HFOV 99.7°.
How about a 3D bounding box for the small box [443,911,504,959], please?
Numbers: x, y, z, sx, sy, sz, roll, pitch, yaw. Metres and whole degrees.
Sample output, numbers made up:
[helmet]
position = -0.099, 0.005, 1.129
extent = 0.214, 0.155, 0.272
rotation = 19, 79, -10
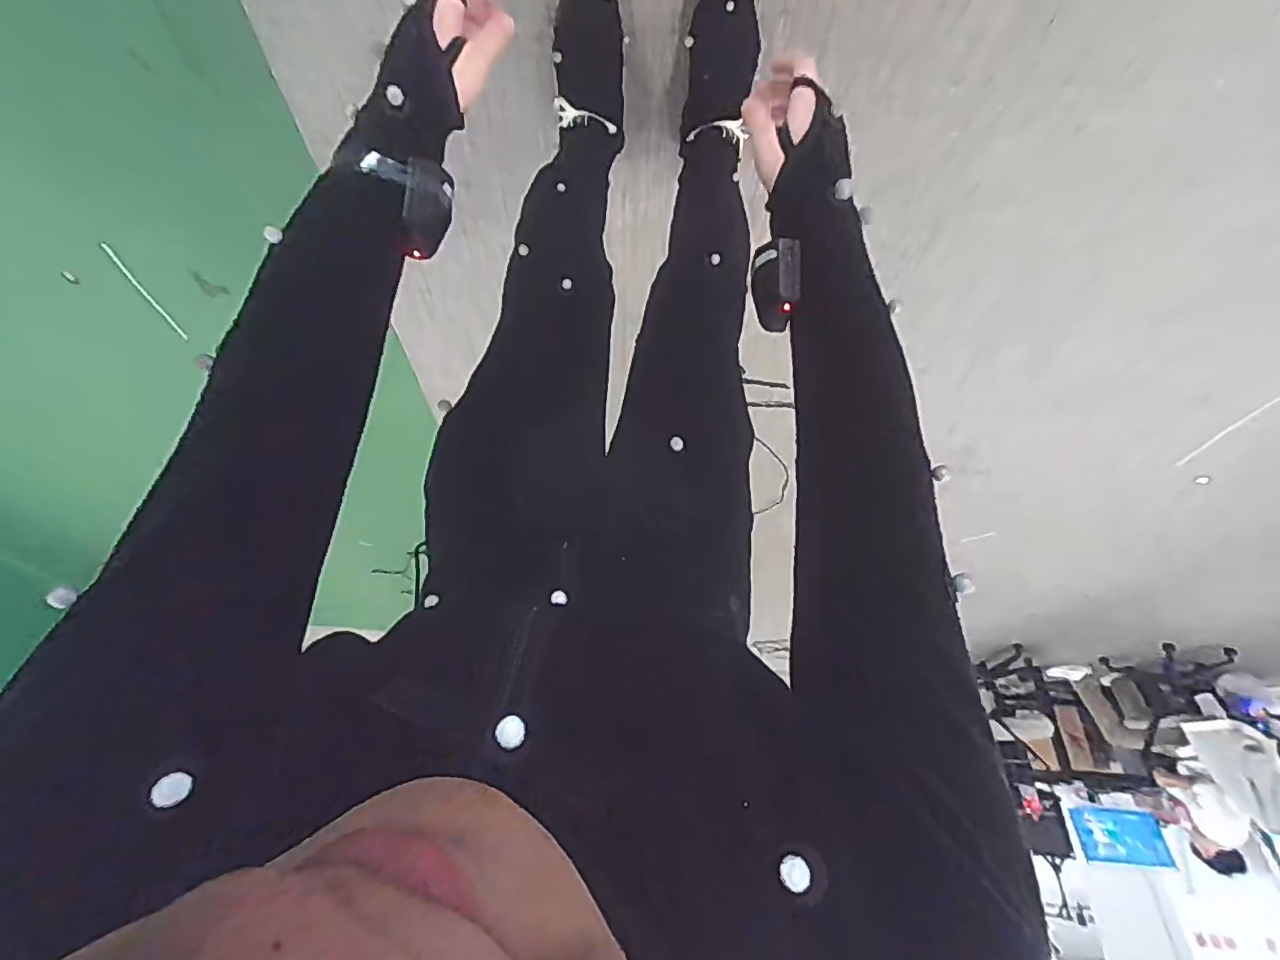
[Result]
[small box]
position = -0.565, 1.577, 1.828
extent = 0.168, 0.176, 0.179
rotation = 6, 149, -3
